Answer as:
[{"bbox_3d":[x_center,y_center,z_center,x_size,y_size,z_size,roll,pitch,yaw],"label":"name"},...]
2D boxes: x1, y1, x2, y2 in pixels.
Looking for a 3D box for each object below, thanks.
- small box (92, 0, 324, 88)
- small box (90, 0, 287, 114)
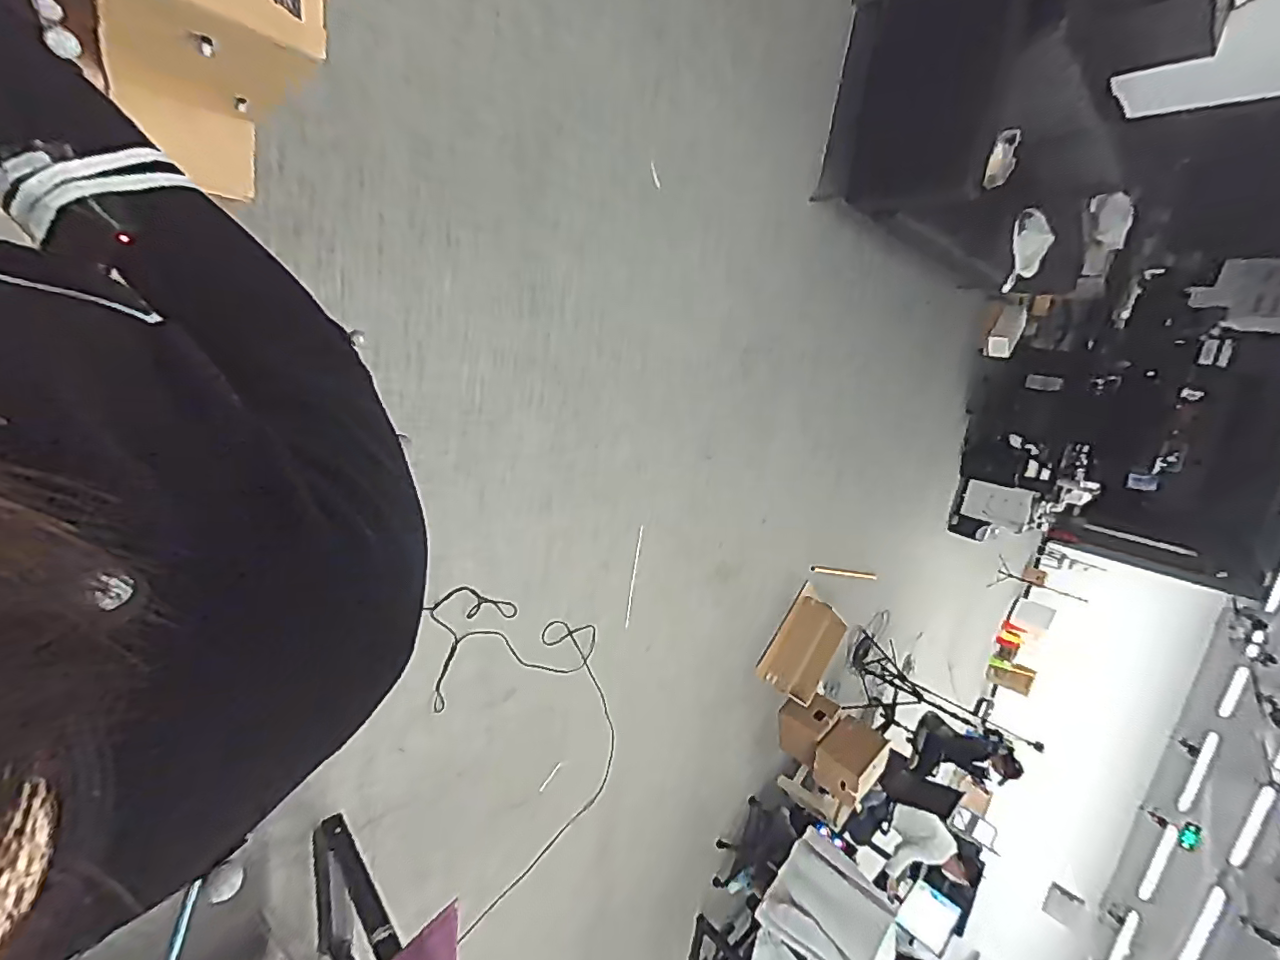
[{"bbox_3d":[-0.440,-0.536,0.550,0.179,0.176,0.168,-2,106,-43],"label":"small box"},{"bbox_3d":[-0.552,-0.579,0.662,0.179,0.176,0.168,-4,108,-43],"label":"small box"}]
